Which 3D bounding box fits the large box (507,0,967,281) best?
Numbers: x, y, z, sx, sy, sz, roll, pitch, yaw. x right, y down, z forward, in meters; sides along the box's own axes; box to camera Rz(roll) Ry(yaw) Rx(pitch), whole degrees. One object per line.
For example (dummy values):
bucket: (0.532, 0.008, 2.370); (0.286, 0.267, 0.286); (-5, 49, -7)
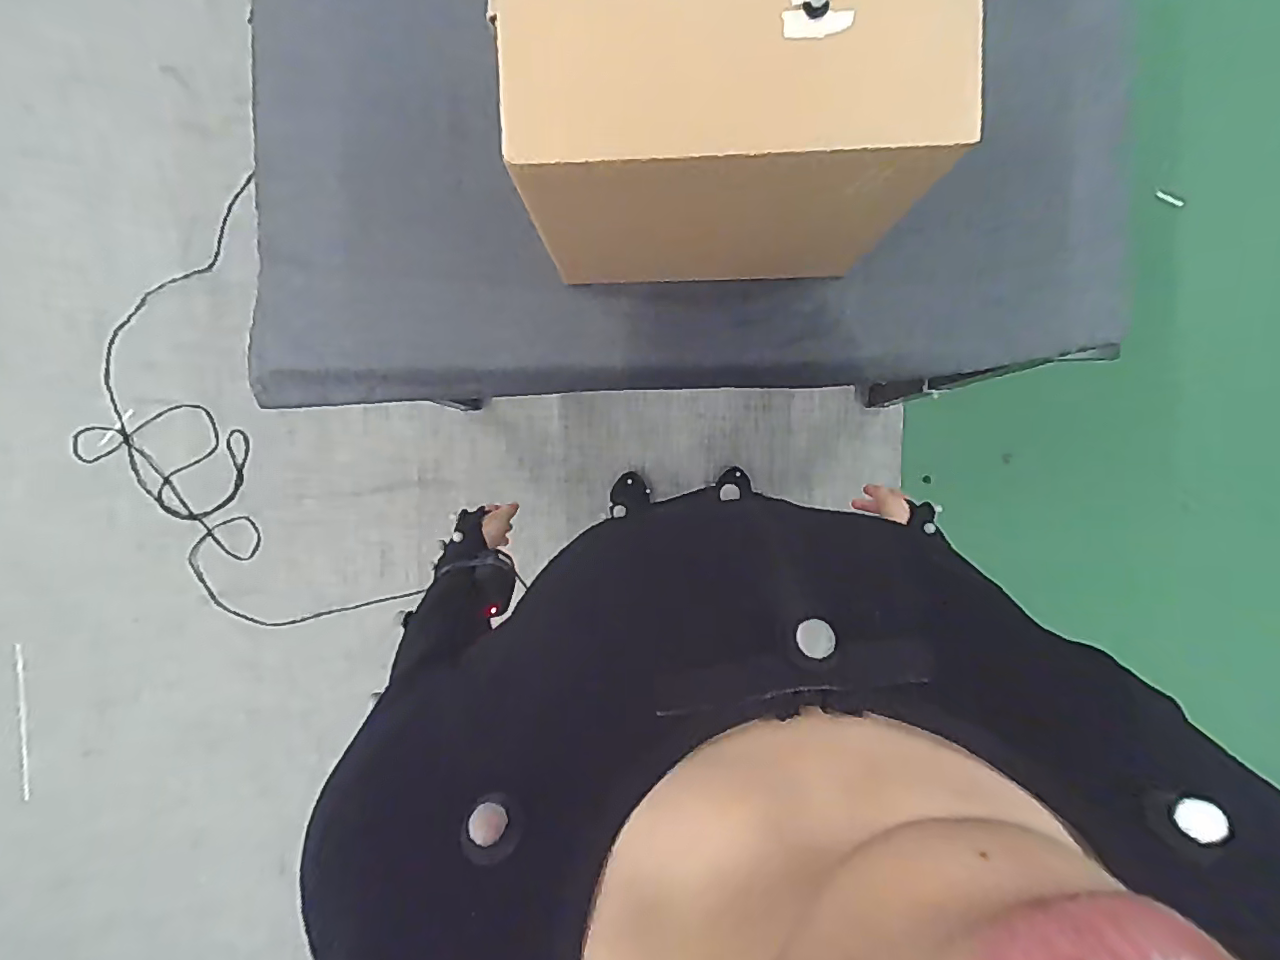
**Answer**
large box: (0.082, -0.441, 0.618); (0.408, 0.320, 0.320); (-2, 92, 2)
